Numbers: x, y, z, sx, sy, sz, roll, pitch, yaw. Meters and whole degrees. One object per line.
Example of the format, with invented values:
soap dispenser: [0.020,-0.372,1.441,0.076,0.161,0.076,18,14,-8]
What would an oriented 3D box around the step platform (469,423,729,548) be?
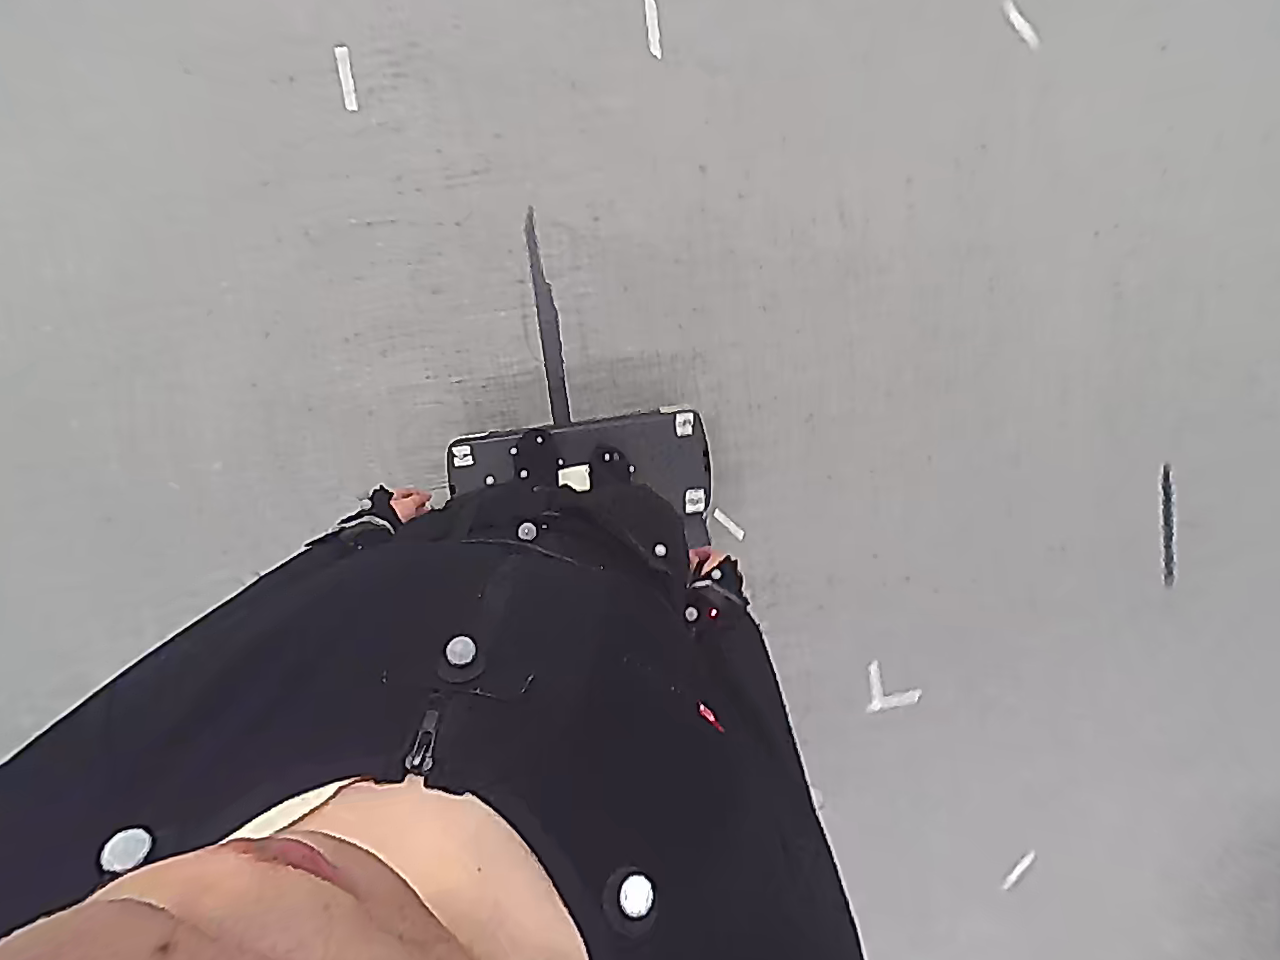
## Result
step platform: [-0.105,0.009,1.464,0.684,0.204,0.286,-4,97,-4]
